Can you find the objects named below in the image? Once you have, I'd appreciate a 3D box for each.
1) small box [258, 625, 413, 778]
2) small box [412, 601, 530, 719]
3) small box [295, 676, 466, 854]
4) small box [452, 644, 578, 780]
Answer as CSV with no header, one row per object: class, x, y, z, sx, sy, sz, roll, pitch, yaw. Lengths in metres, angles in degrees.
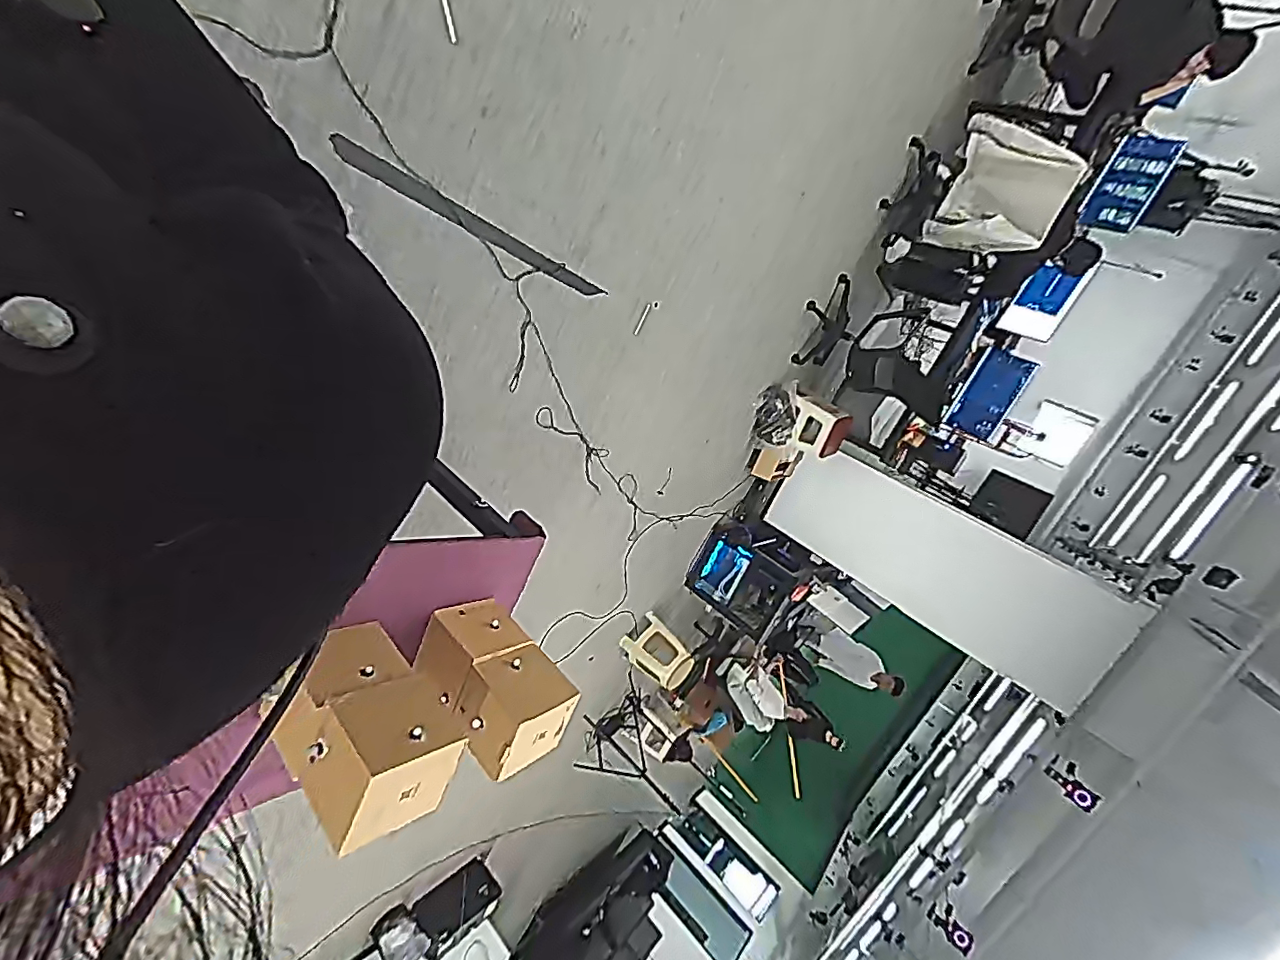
small box,-0.552,0.386,0.981,0.179,0.176,0.168,2,118,-55
small box,-0.387,0.394,1.226,0.168,0.176,0.179,-1,121,-55
small box,-0.430,0.455,0.898,0.179,0.176,0.168,6,113,-55
small box,-0.270,0.482,1.151,0.179,0.176,0.168,-3,123,-53
